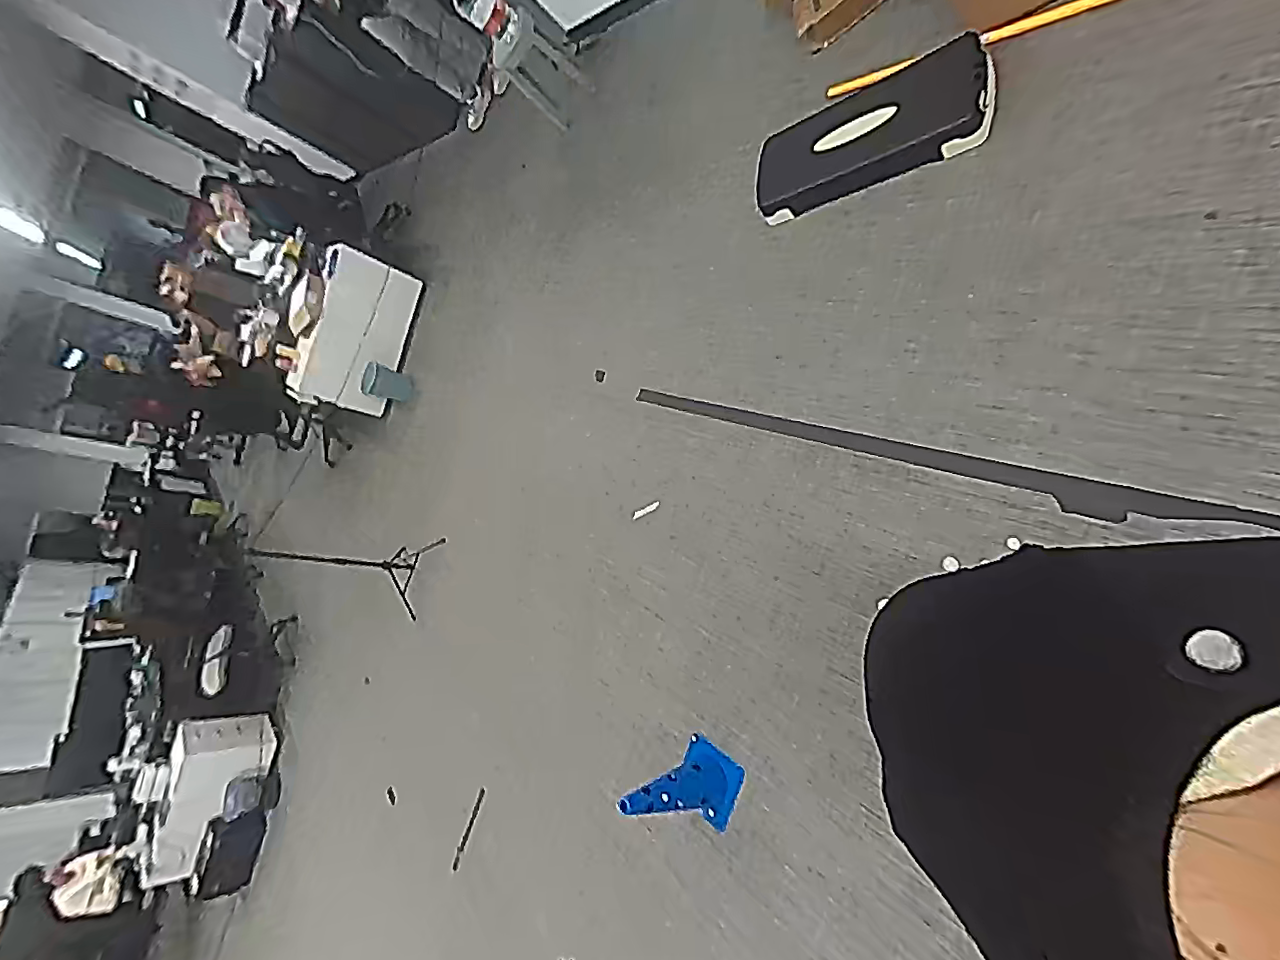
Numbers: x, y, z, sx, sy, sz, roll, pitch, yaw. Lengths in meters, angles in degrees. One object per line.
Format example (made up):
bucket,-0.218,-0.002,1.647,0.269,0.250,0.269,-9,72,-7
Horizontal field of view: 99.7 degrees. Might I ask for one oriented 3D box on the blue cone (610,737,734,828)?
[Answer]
blue cone,0.072,0.858,1.484,0.192,0.380,0.193,24,95,46
